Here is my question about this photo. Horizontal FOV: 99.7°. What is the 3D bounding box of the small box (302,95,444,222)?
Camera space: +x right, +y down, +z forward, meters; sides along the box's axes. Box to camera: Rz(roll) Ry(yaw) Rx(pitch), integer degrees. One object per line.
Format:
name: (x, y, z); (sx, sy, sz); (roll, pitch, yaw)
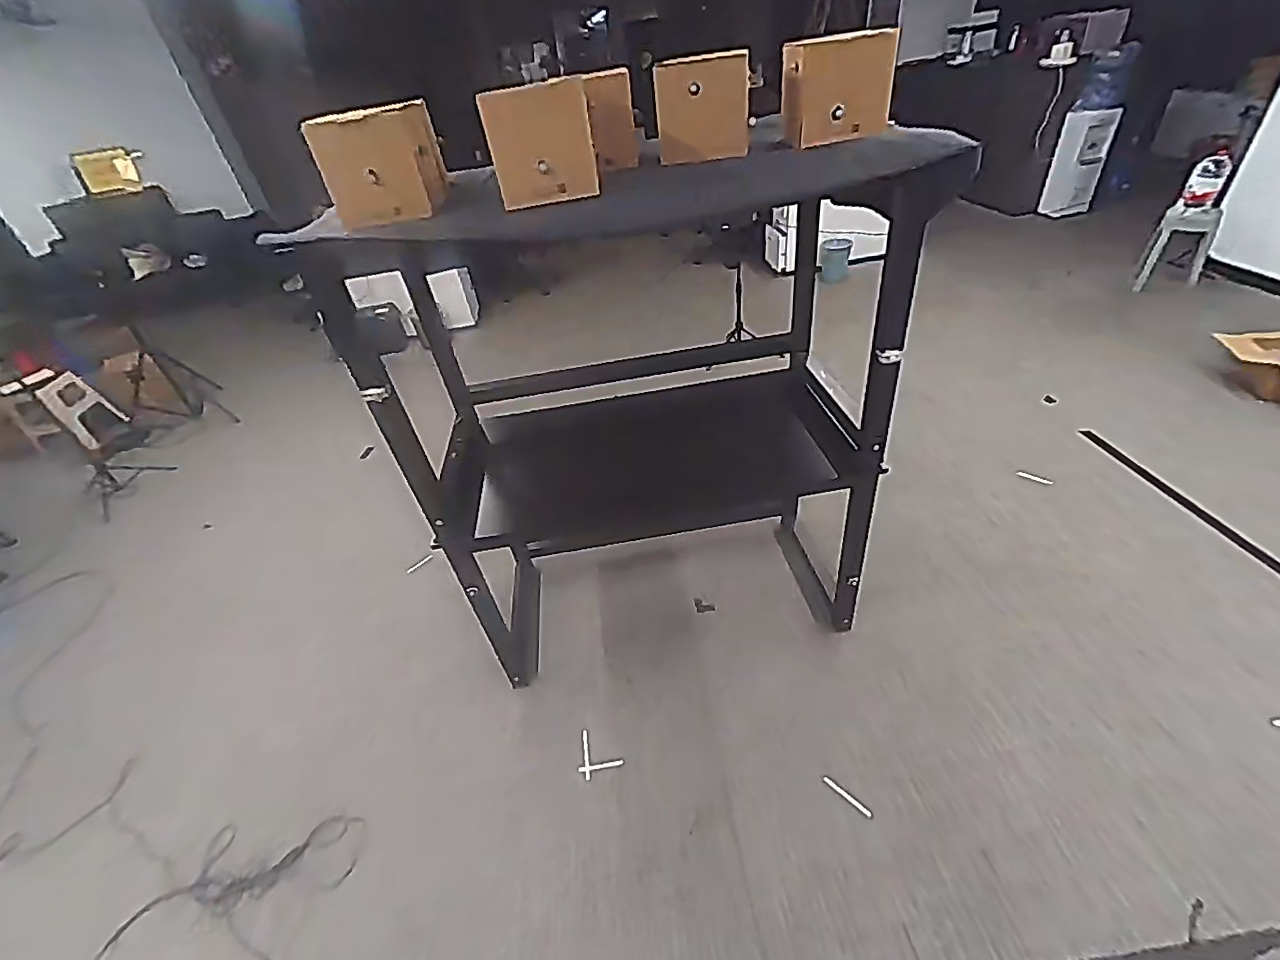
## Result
small box: (-0.476, -0.588, 0.997); (0.168, 0.176, 0.179); (-11, 40, -3)

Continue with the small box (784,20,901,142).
small box: (0.382, -0.774, 1.055); (0.168, 0.176, 0.179); (-7, 39, 4)

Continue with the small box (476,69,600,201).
small box: (-0.166, -0.600, 0.945); (0.168, 0.176, 0.179); (-9, 37, 3)
